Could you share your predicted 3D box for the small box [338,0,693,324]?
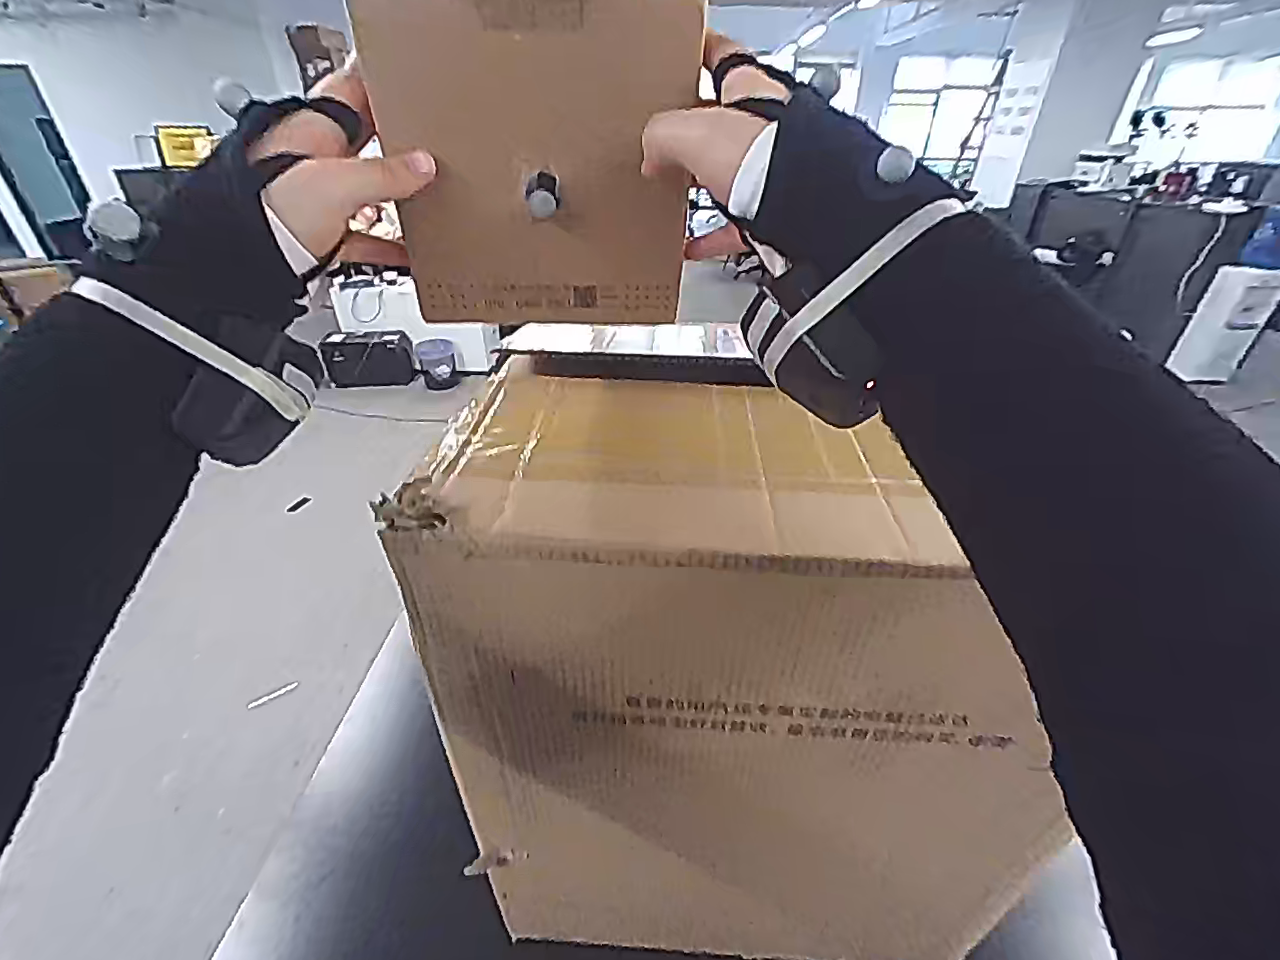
[{"bbox_3d":[-0.060,-0.216,0.358,0.168,0.176,0.179,-1,43,-4],"label":"small box"}]
